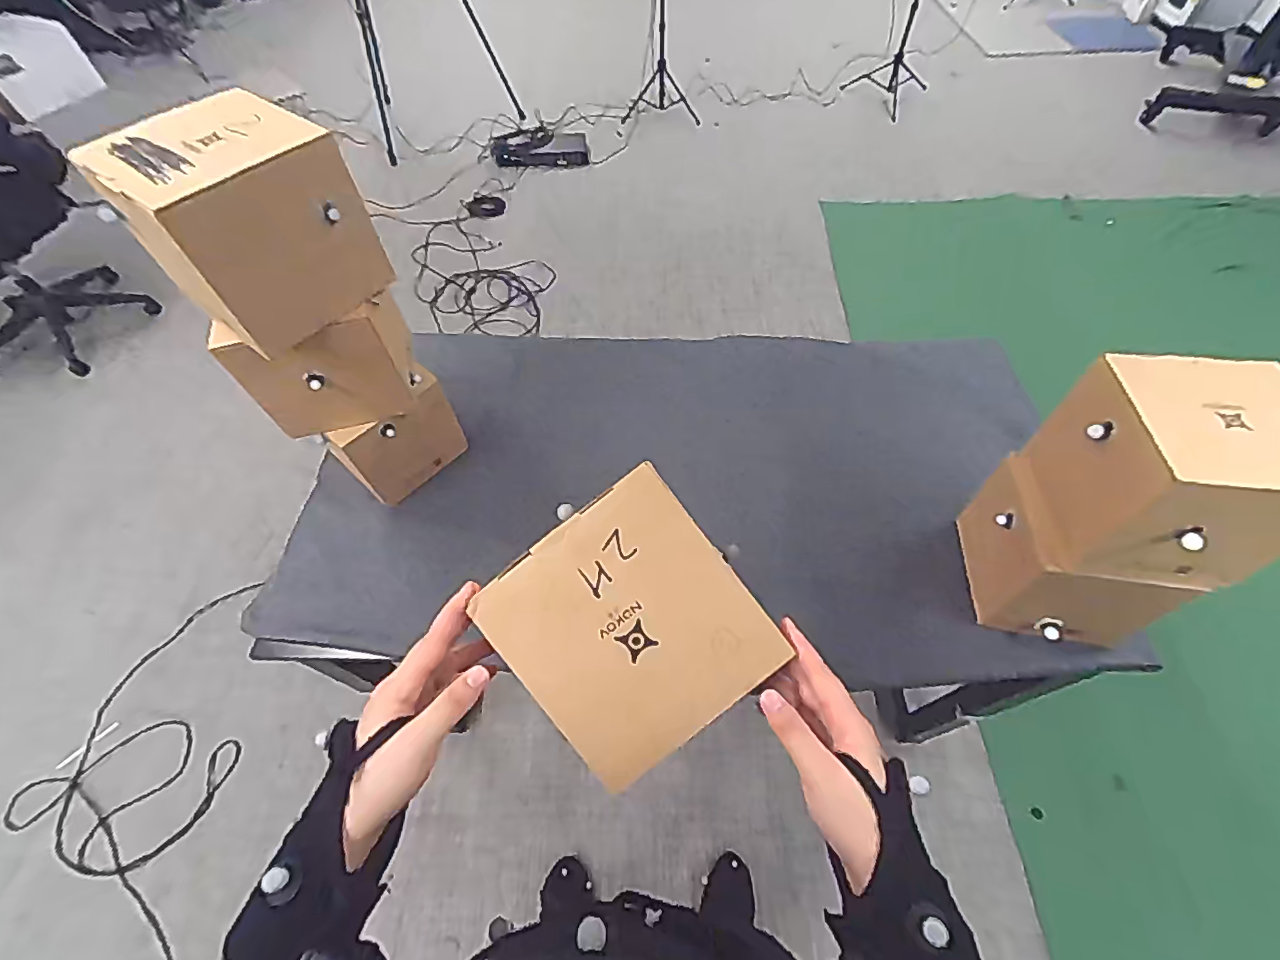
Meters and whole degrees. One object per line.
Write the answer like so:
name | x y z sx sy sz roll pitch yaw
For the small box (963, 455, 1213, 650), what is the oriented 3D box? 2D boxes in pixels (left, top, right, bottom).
small box | 0.542 0.094 0.692 0.168 0.176 0.179 6 54 9

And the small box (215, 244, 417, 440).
small box | -0.411 -0.179 0.721 0.179 0.176 0.168 -15 58 -7

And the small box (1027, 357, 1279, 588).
small box | 0.550 -0.005 0.563 0.168 0.176 0.179 5 52 7

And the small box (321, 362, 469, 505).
small box | -0.406 -0.091 0.860 0.179 0.176 0.168 36 65 23
